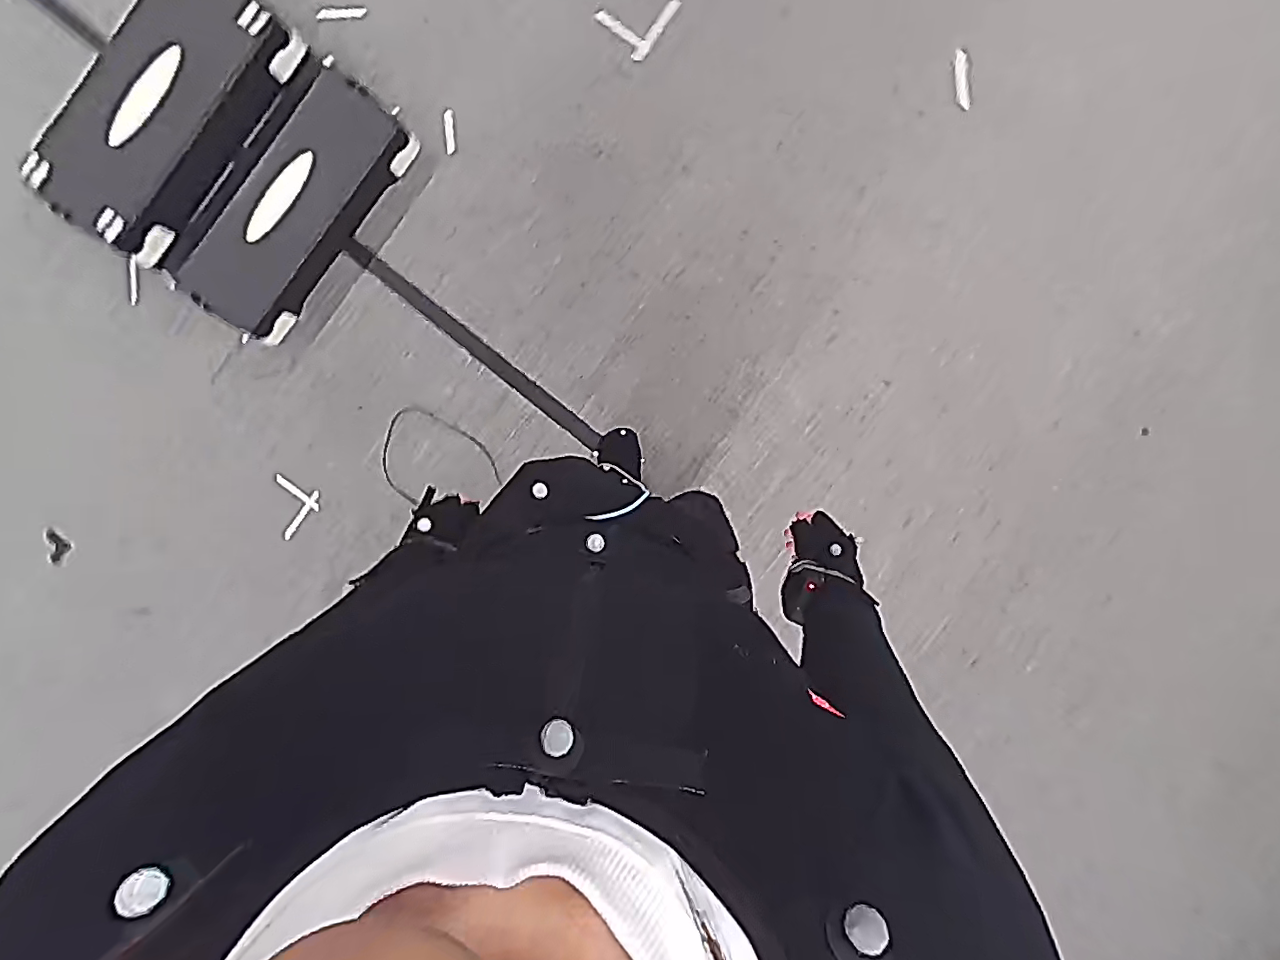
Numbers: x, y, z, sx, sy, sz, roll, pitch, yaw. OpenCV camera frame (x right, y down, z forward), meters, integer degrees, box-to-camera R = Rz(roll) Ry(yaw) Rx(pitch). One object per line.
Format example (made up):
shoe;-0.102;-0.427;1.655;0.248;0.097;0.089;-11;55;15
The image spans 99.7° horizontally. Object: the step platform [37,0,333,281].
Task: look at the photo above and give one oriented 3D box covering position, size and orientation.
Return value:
step platform;-1.073;-0.838;1.293;0.286;0.204;0.684;37;92;-3
